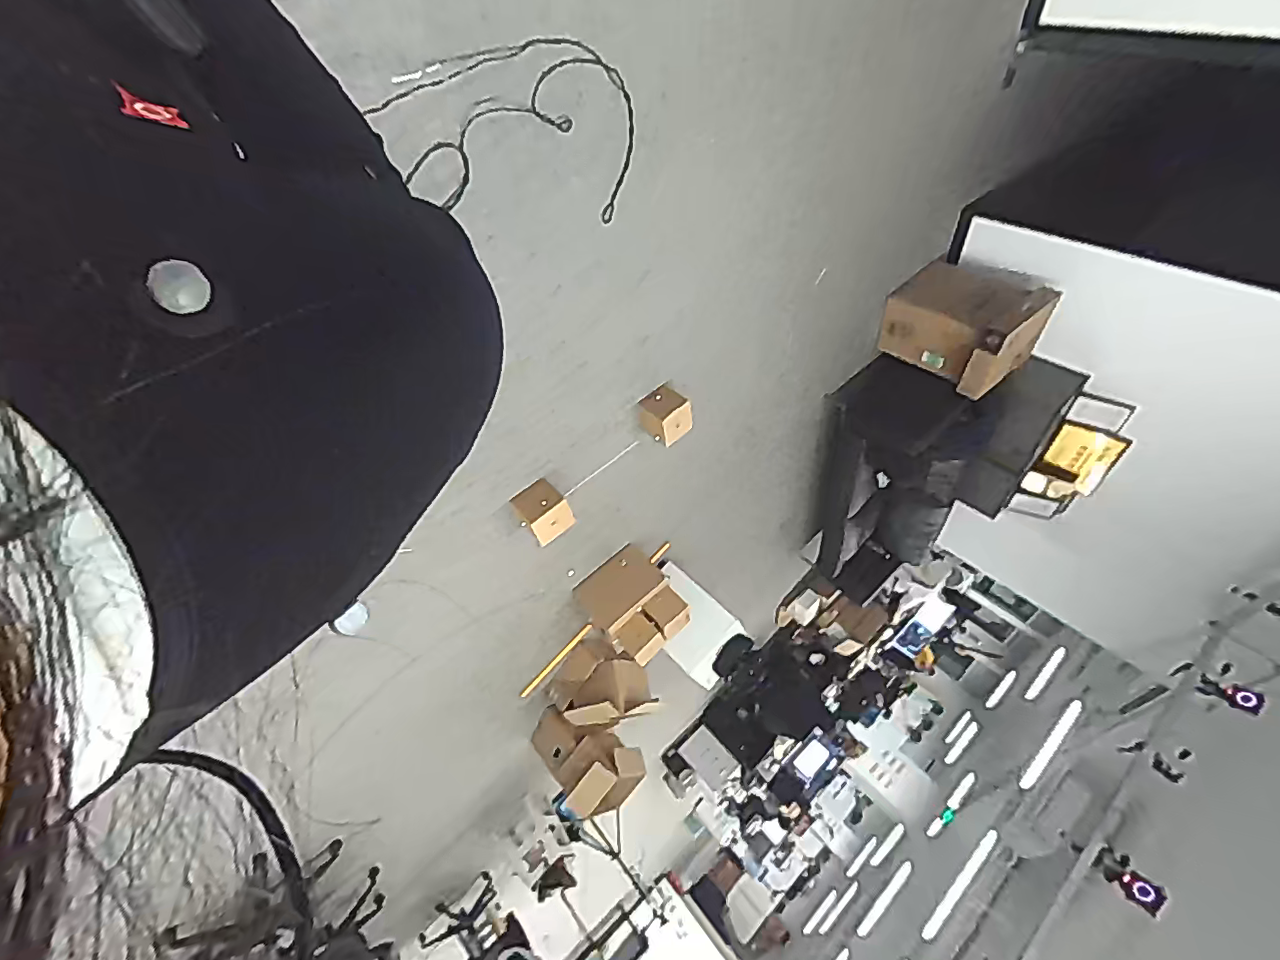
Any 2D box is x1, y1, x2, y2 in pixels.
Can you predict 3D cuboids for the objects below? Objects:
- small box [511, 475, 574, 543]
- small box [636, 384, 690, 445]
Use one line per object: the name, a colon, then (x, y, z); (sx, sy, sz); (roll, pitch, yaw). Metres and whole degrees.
small box: (-0.403, 0.115, 2.198); (0.179, 0.176, 0.168); (-39, 145, -19)
small box: (0.104, -0.296, 2.407); (0.168, 0.176, 0.179); (-38, 145, -19)
